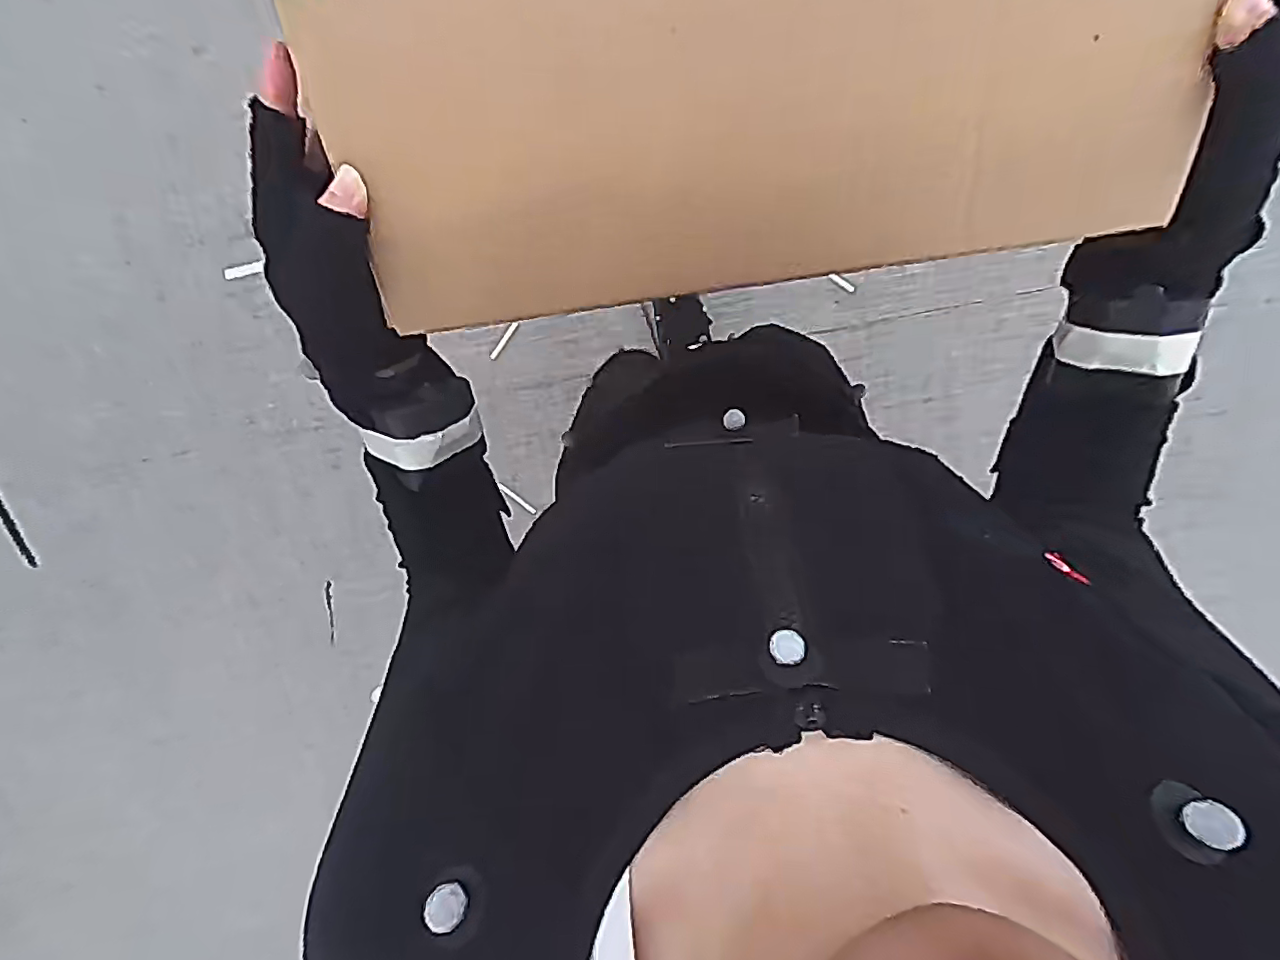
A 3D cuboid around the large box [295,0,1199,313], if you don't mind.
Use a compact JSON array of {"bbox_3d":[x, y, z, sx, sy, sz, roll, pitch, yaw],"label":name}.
[{"bbox_3d":[0.039,-0.325,0.349,0.408,0.320,0.320,-7,120,5],"label":"large box"}]
